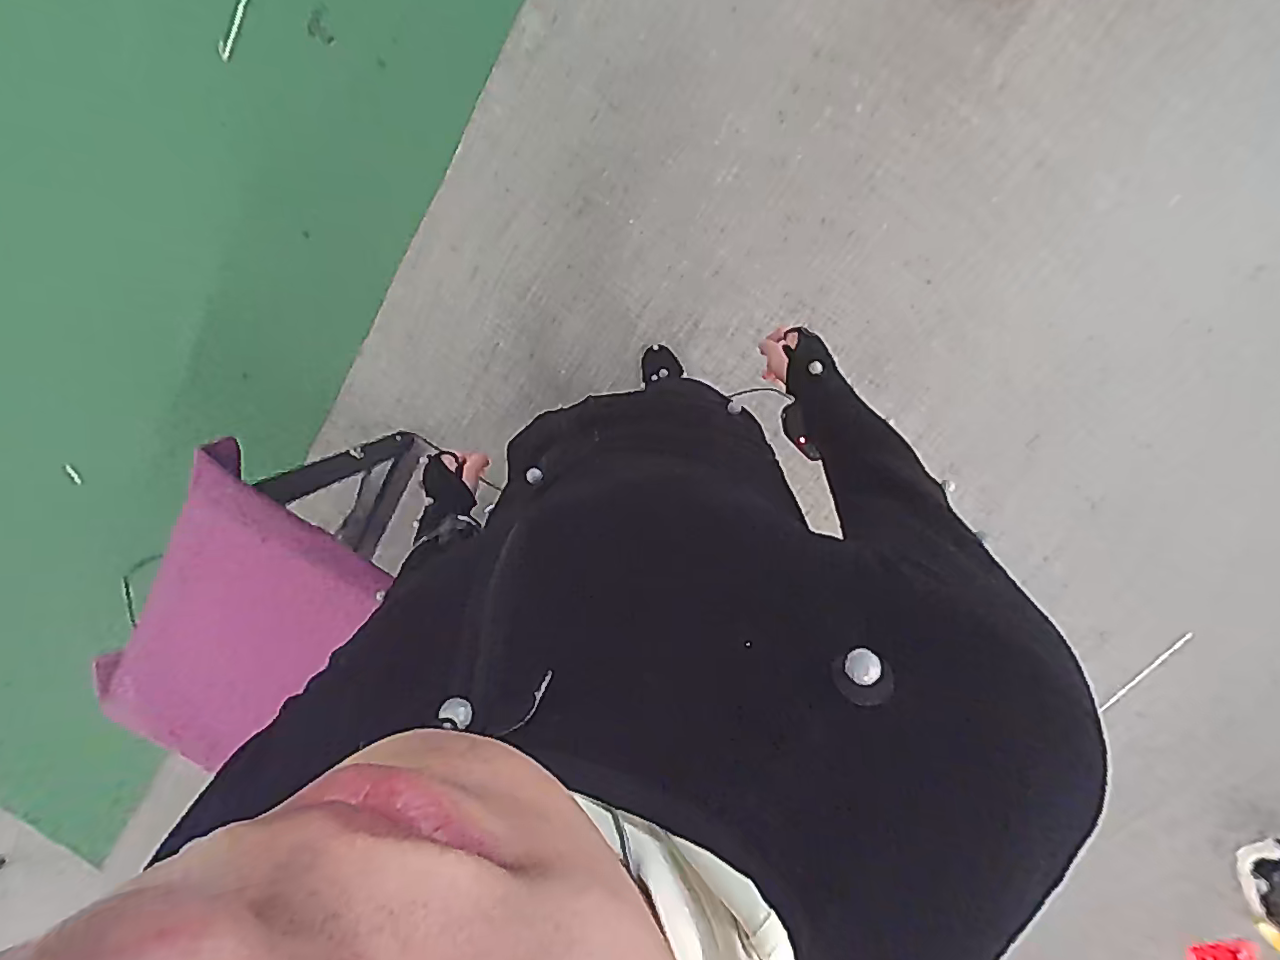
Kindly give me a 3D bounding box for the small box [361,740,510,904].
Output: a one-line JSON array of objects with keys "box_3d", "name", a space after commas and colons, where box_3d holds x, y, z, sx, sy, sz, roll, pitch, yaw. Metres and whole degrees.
[{"box_3d": [-0.377, 0.632, 1.022, 0.179, 0.176, 0.168, 29, 107, -2], "name": "small box"}]
